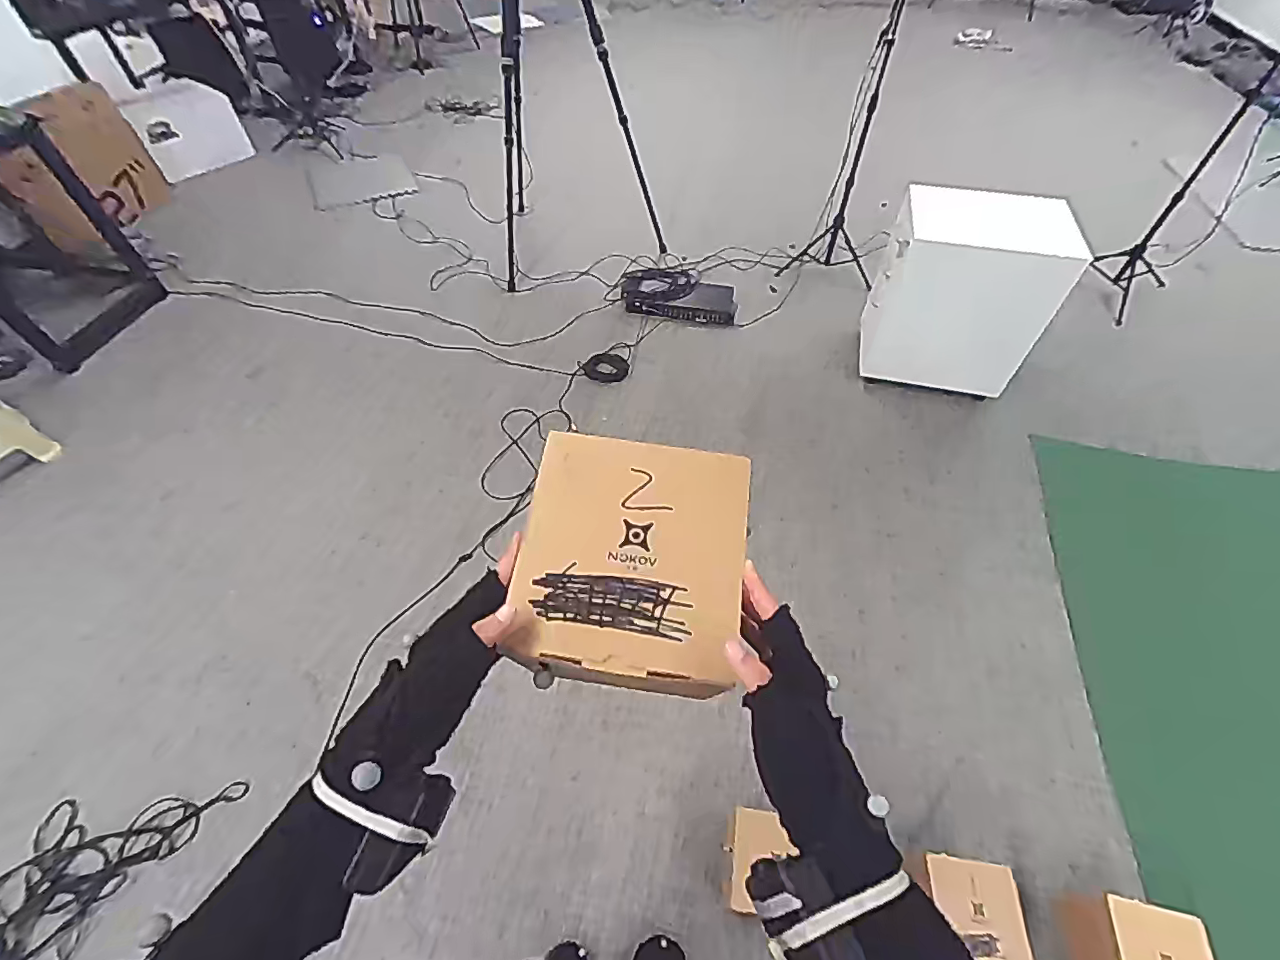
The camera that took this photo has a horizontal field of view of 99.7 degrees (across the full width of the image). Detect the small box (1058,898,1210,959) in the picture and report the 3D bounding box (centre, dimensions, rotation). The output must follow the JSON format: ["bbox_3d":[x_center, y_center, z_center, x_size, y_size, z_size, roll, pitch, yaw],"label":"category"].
[{"bbox_3d":[0.949,0.934,1.037,0.168,0.176,0.179,11,53,9],"label":"small box"}]

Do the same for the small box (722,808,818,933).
[{"bbox_3d":[0.266,0.811,1.125,0.168,0.176,0.179,8,53,7],"label":"small box"}]

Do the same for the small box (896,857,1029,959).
[{"bbox_3d":[0.633,0.877,1.078,0.168,0.176,0.179,7,51,5],"label":"small box"}]
